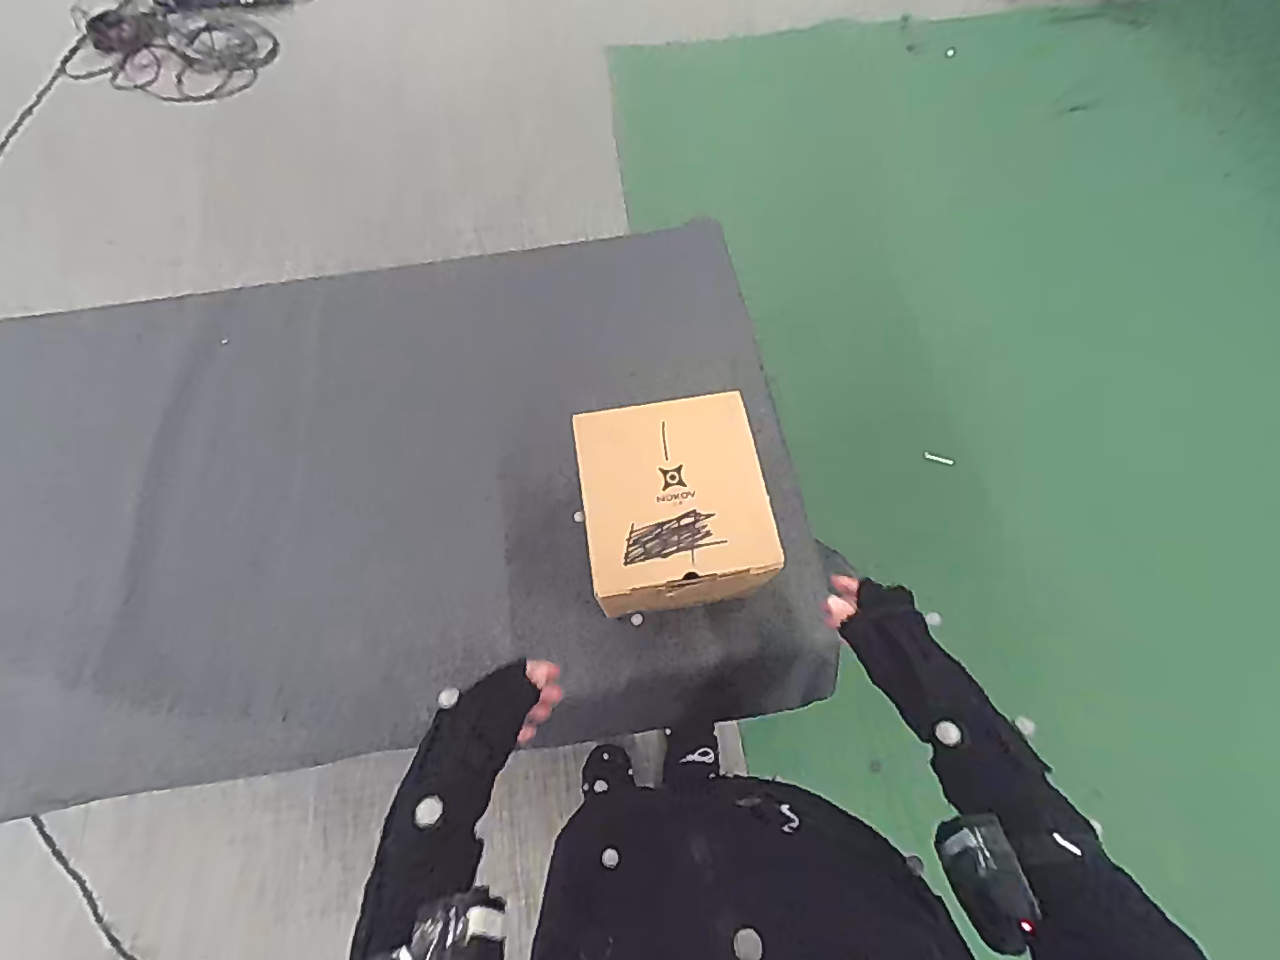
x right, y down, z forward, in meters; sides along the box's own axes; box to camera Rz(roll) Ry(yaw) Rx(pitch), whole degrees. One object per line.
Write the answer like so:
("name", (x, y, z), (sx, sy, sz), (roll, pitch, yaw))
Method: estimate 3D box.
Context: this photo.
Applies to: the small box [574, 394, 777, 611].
("small box", (0.030, 0.035, 0.570), (0.168, 0.176, 0.179), (-9, 68, -3))
